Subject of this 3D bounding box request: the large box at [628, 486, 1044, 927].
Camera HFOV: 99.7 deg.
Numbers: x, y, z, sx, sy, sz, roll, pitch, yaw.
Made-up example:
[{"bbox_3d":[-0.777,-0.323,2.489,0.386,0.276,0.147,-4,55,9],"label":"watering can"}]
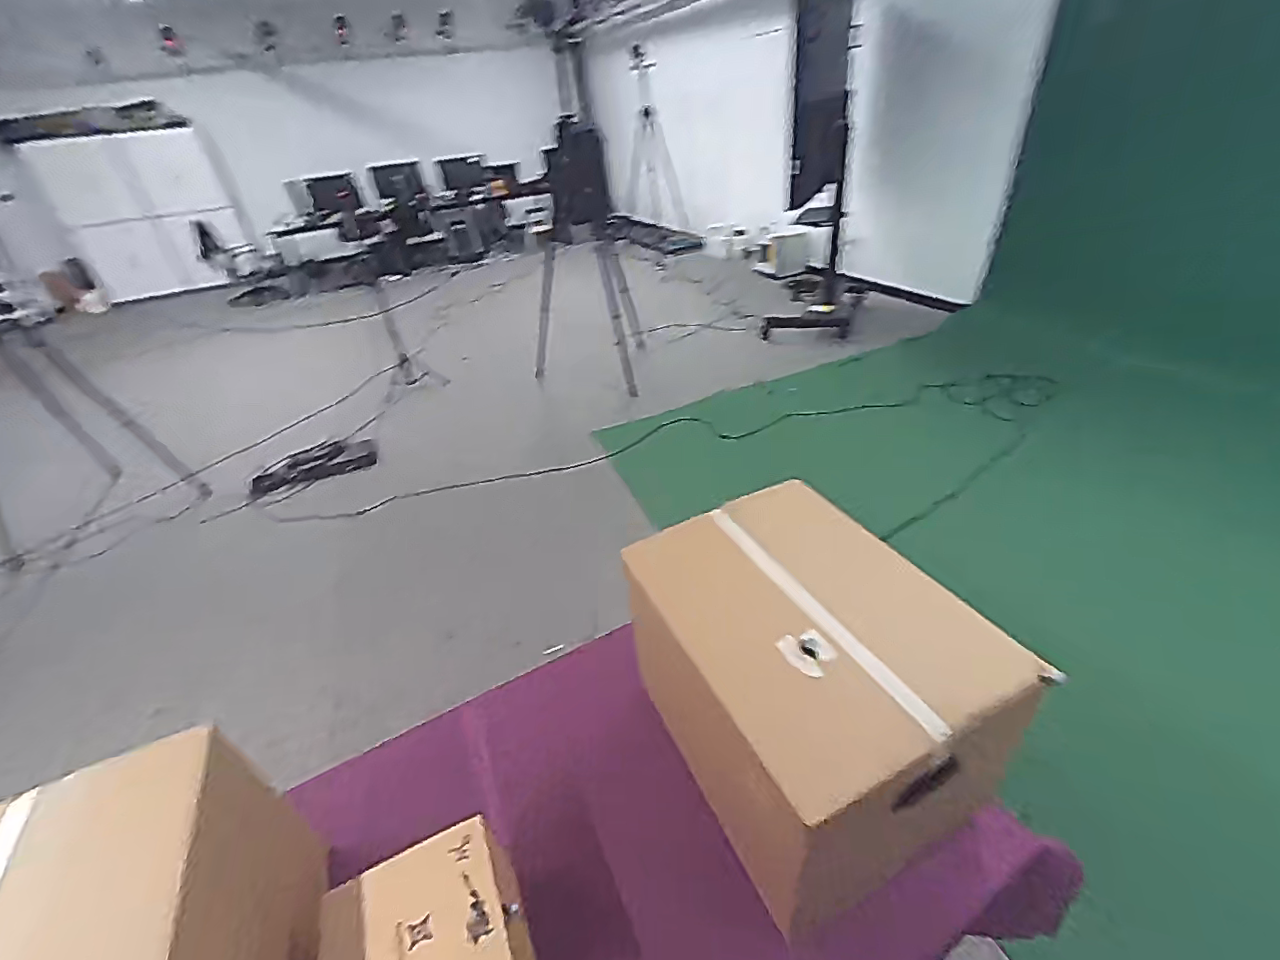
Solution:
[{"bbox_3d":[0.211,0.271,0.749,0.320,0.320,0.408,-19,38,-18],"label":"large box"}]
